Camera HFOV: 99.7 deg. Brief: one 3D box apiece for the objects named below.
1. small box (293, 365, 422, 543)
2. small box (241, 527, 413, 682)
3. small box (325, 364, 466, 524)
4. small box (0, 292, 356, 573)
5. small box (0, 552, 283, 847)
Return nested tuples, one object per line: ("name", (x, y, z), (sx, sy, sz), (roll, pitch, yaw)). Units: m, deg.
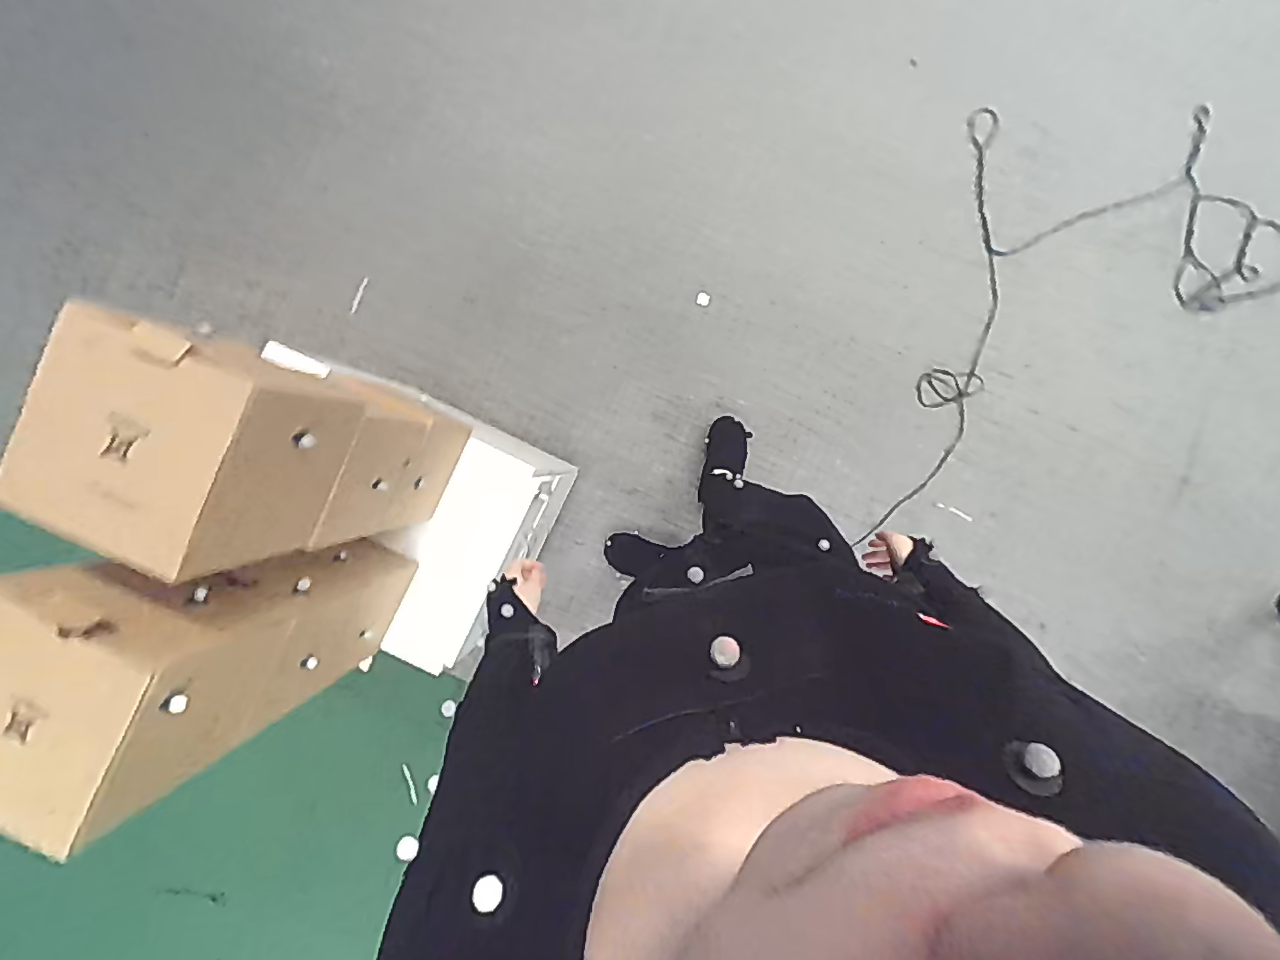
("small box", (-0.404, -0.042, 0.670), (0.179, 0.176, 0.168), (23, 93, 0))
("small box", (-0.488, 0.176, 0.845), (0.168, 0.176, 0.179), (26, 90, -1))
("small box", (-0.394, -0.053, 0.834), (0.168, 0.176, 0.179), (26, 93, 0))
("small box", (-0.404, -0.041, 0.507), (0.168, 0.176, 0.179), (25, 94, 0))
("small box", (-0.492, 0.186, 0.517), (0.168, 0.176, 0.179), (26, 91, 0))
